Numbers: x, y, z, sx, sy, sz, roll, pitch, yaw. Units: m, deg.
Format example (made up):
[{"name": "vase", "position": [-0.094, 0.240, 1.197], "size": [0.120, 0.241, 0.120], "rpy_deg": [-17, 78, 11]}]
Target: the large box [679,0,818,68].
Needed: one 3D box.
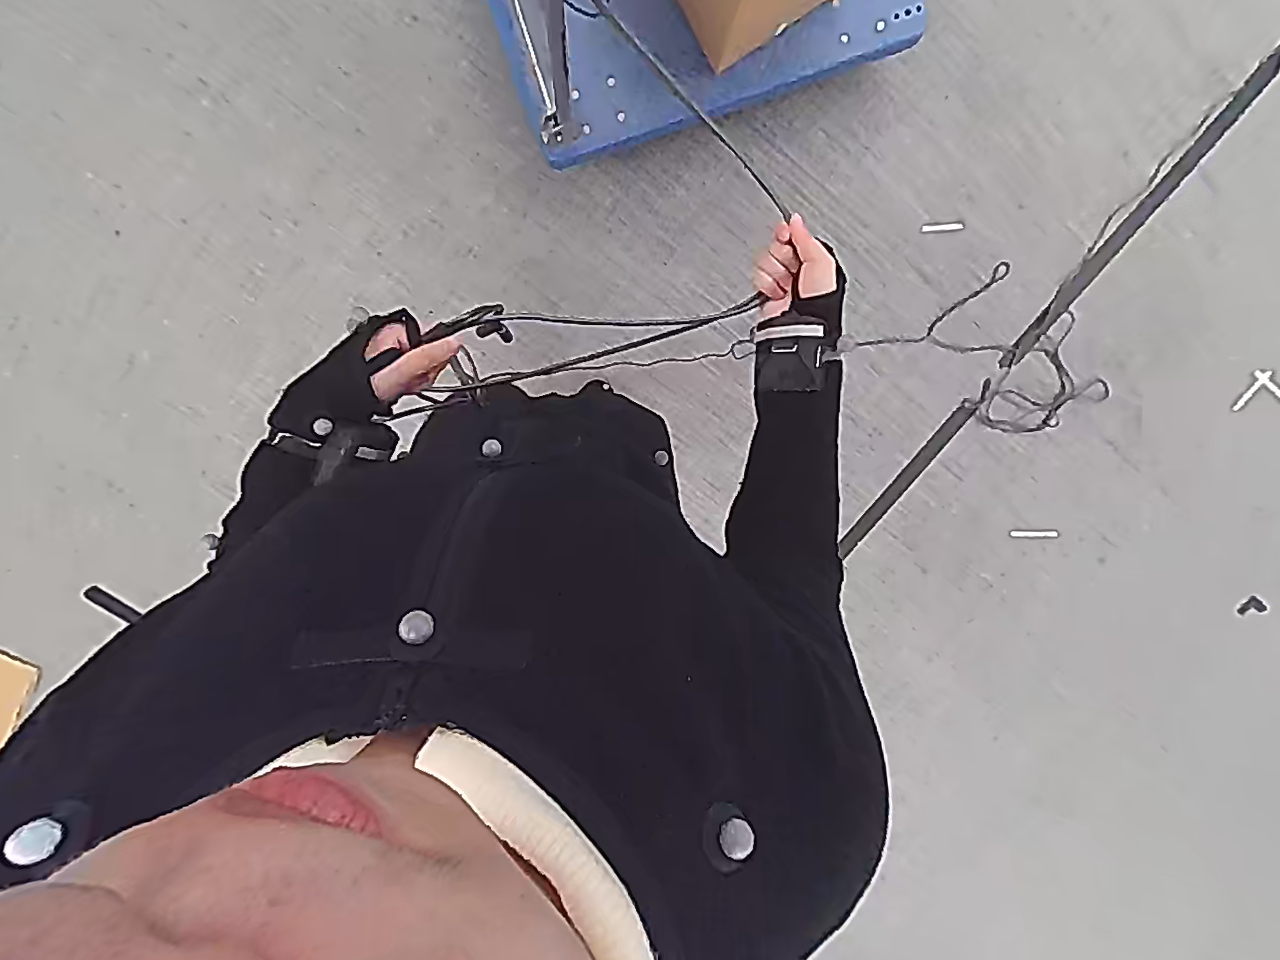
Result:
[{"name": "large box", "position": [0.188, -1.074, 0.947], "size": [0.320, 0.320, 0.408], "rpy_deg": [-32, 102, 5]}]
